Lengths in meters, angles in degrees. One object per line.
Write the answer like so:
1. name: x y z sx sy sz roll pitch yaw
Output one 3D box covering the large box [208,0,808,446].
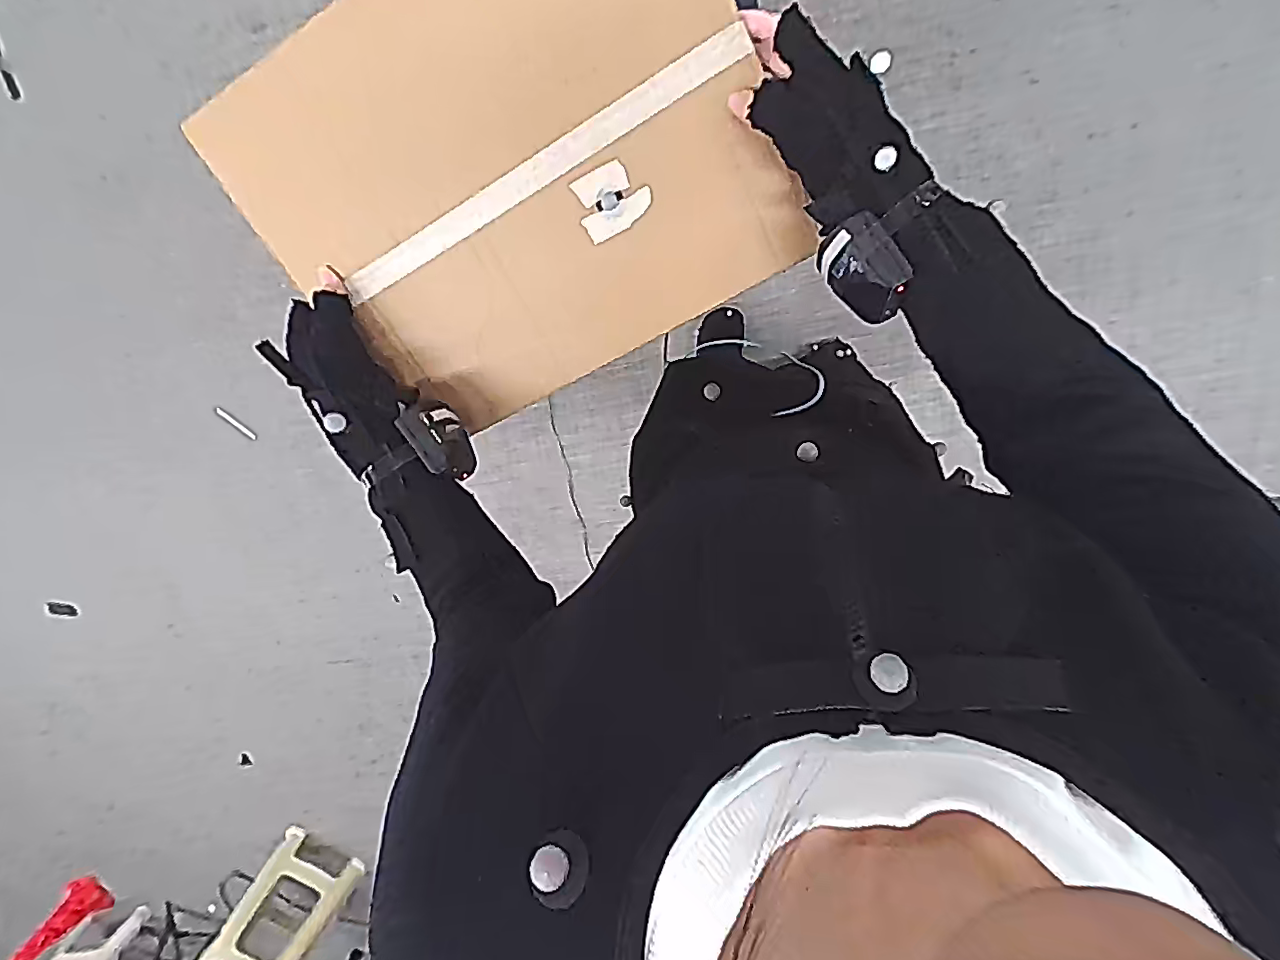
1. large box: -0.101 -0.299 0.574 0.408 0.320 0.320 -27 112 12
